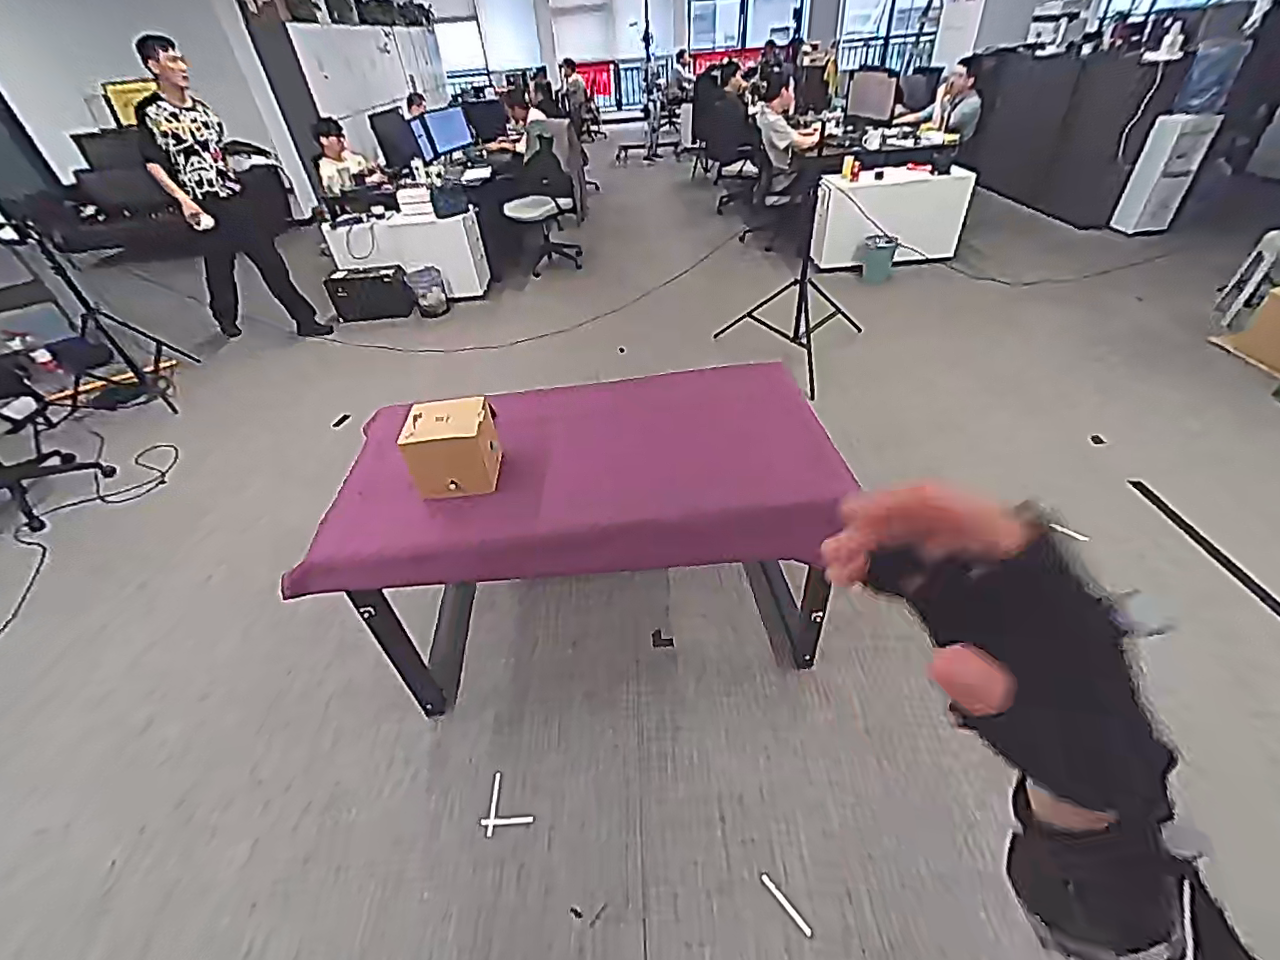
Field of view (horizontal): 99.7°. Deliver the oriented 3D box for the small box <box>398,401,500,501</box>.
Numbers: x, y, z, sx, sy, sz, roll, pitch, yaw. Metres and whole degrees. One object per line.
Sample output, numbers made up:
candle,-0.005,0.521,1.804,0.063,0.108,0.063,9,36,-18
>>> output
small box,-0.440,-0.067,1.285,0.179,0.176,0.168,-6,39,-2
